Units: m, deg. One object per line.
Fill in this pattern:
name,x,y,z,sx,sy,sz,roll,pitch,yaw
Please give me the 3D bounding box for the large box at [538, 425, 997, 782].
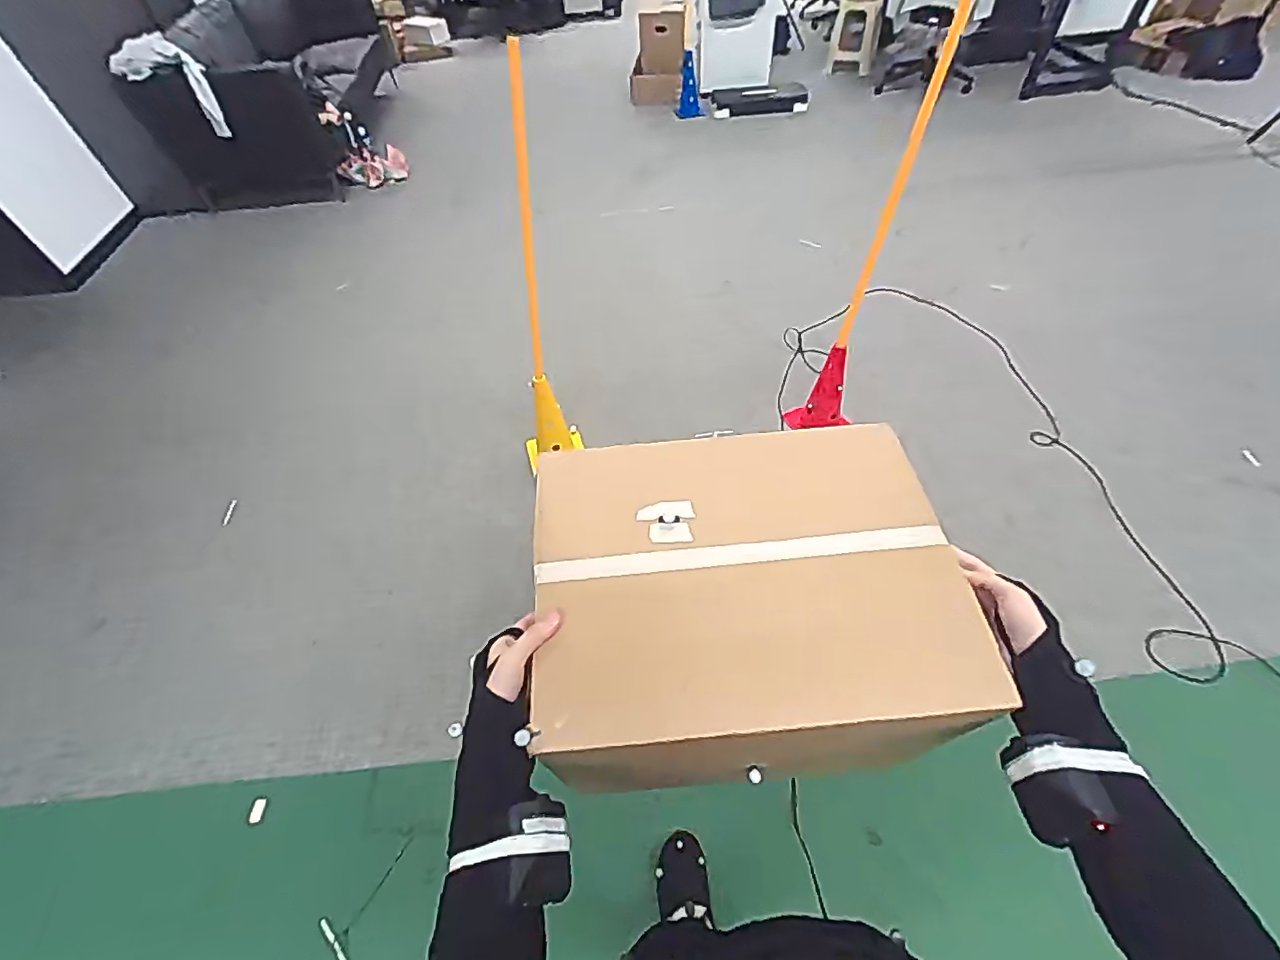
large box,0.107,0.165,0.666,0.408,0.320,0.320,-6,54,0
